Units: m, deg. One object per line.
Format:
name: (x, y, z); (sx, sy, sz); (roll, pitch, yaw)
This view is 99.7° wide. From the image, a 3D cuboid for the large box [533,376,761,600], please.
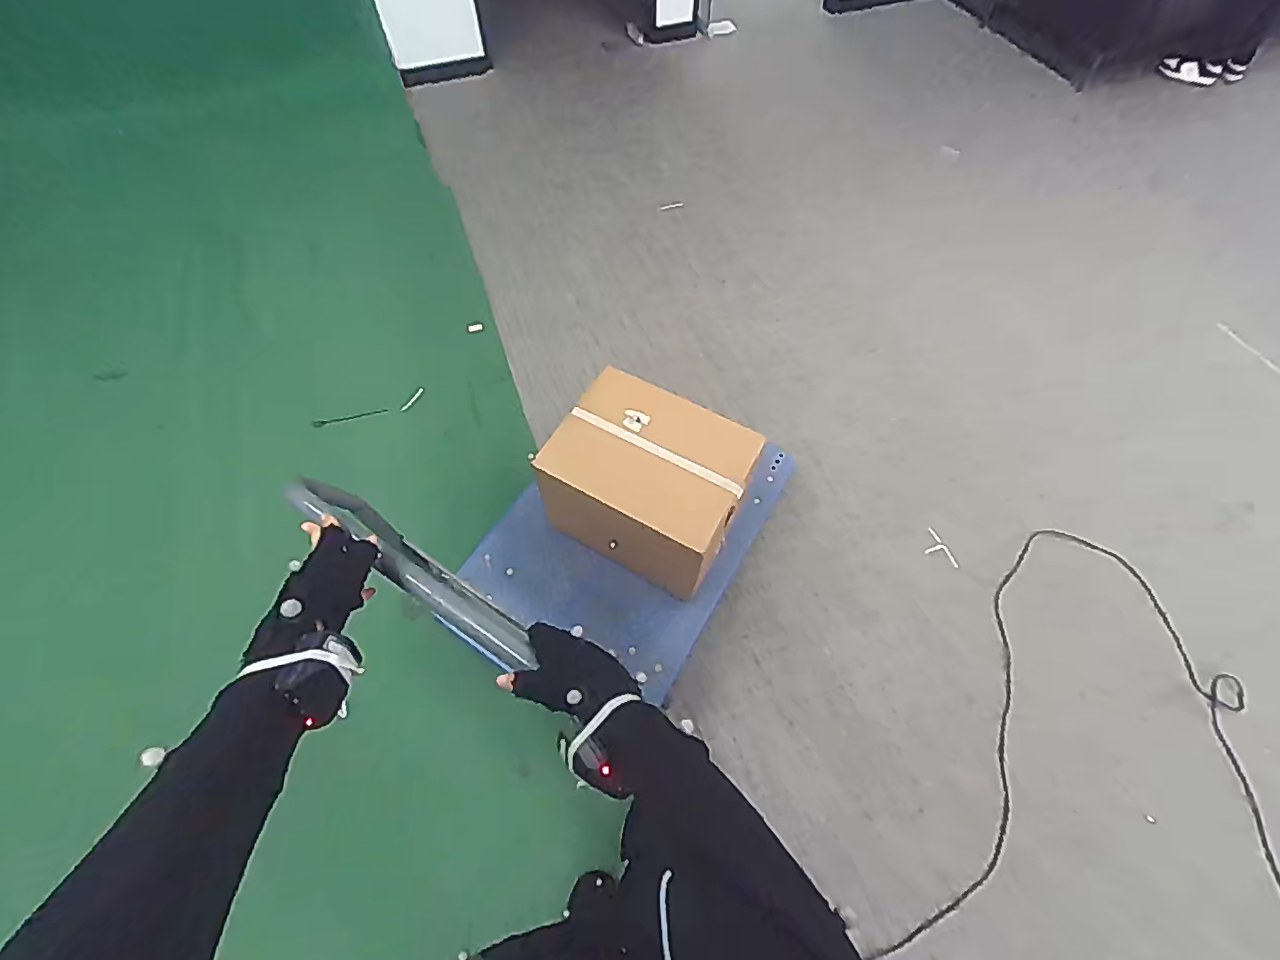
large box: (0.022, 0.025, 1.279); (0.408, 0.320, 0.320); (26, 62, 15)
